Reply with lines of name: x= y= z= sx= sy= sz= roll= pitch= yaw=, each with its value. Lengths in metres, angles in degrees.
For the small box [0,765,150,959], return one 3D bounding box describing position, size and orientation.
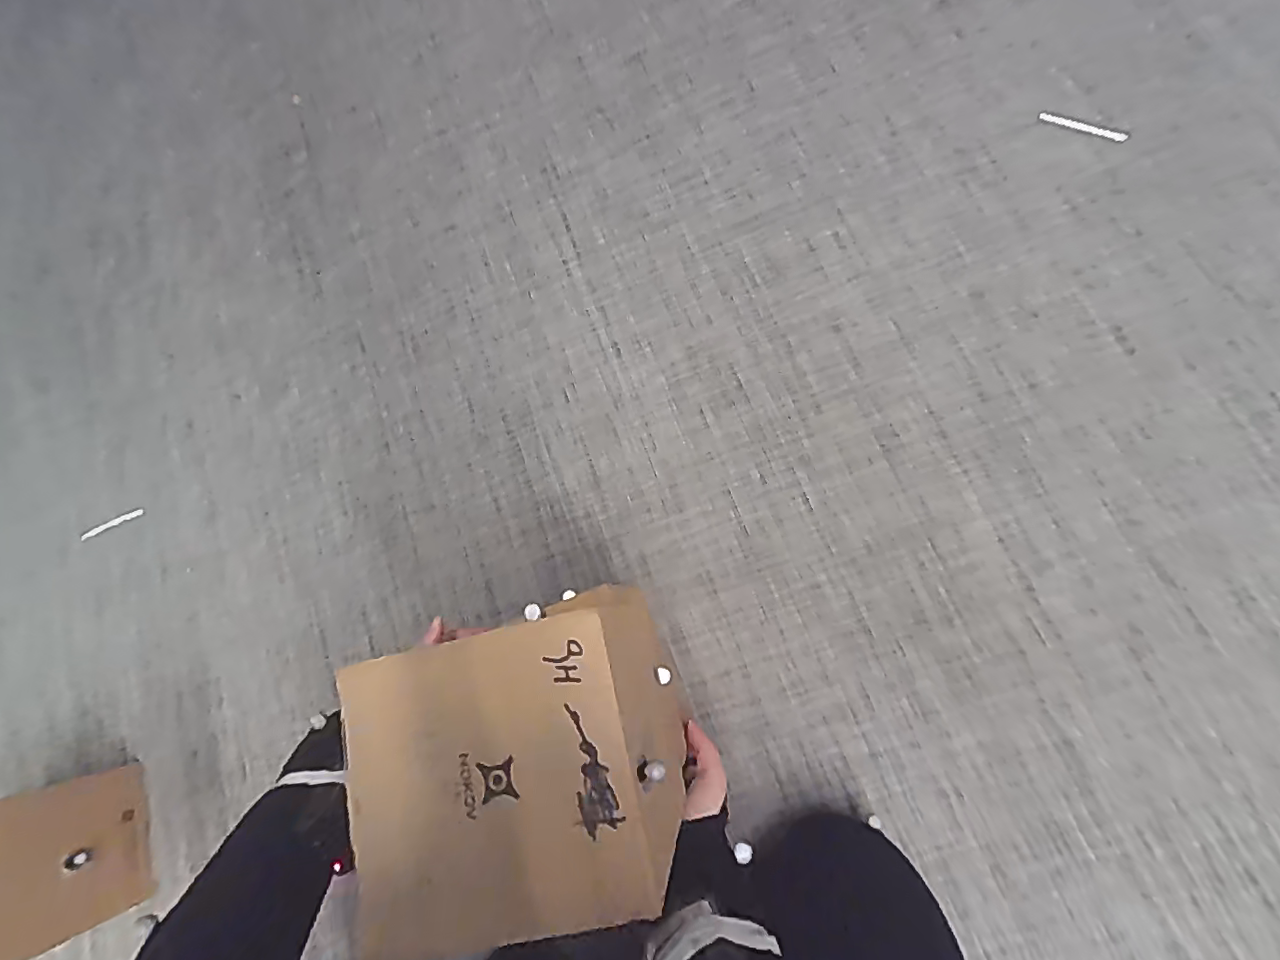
small box: x=-0.718 y=0.458 z=0.627 sx=0.179 sy=0.176 sz=0.168 roll=-22 pitch=74 yaw=5
